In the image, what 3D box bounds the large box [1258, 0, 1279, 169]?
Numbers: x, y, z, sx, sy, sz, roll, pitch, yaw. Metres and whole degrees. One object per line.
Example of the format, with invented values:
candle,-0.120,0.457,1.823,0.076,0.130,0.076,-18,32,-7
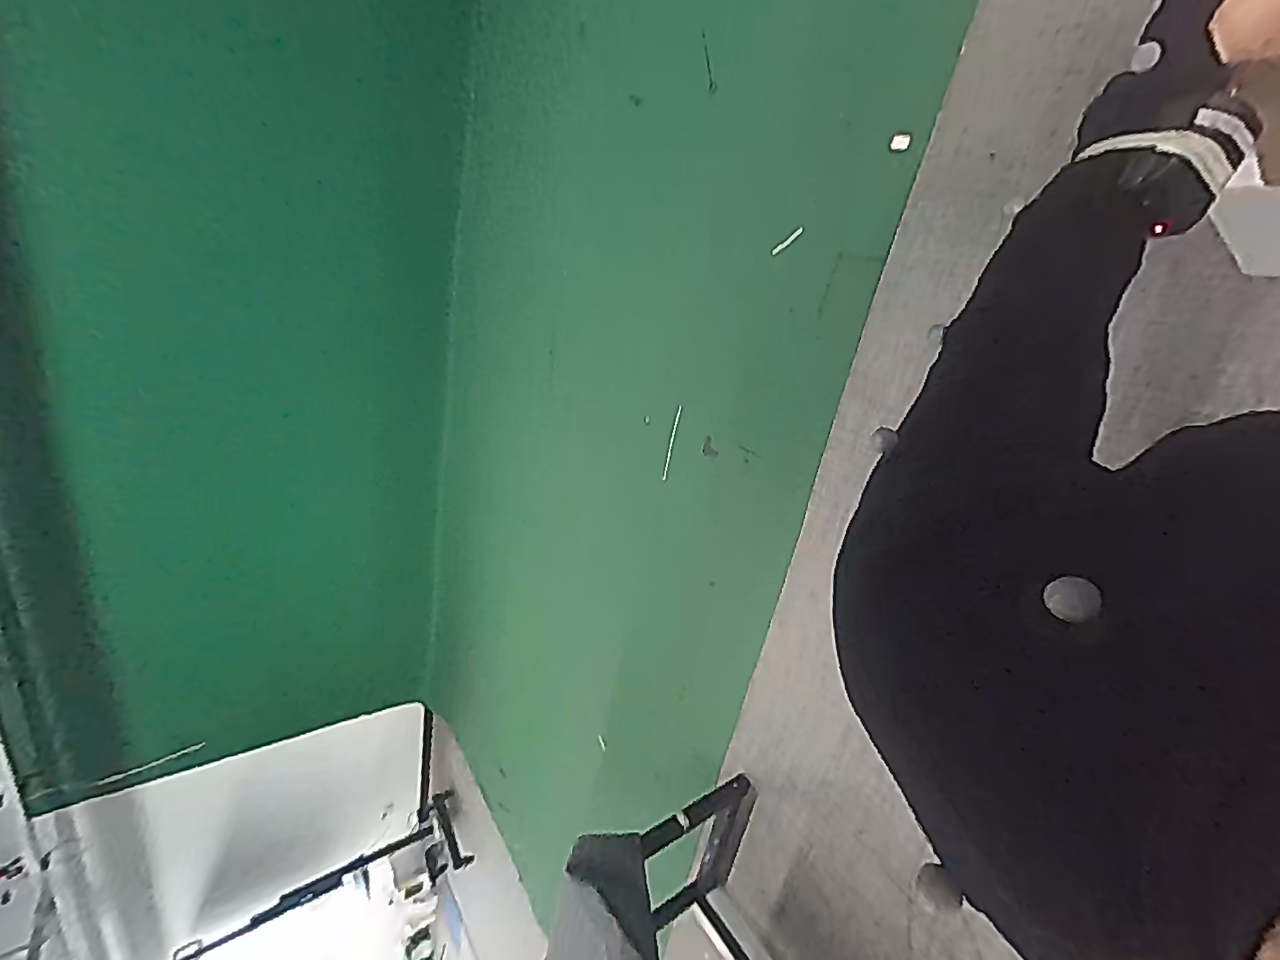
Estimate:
large box,0.638,-0.363,0.244,0.408,0.320,0.320,29,118,45
